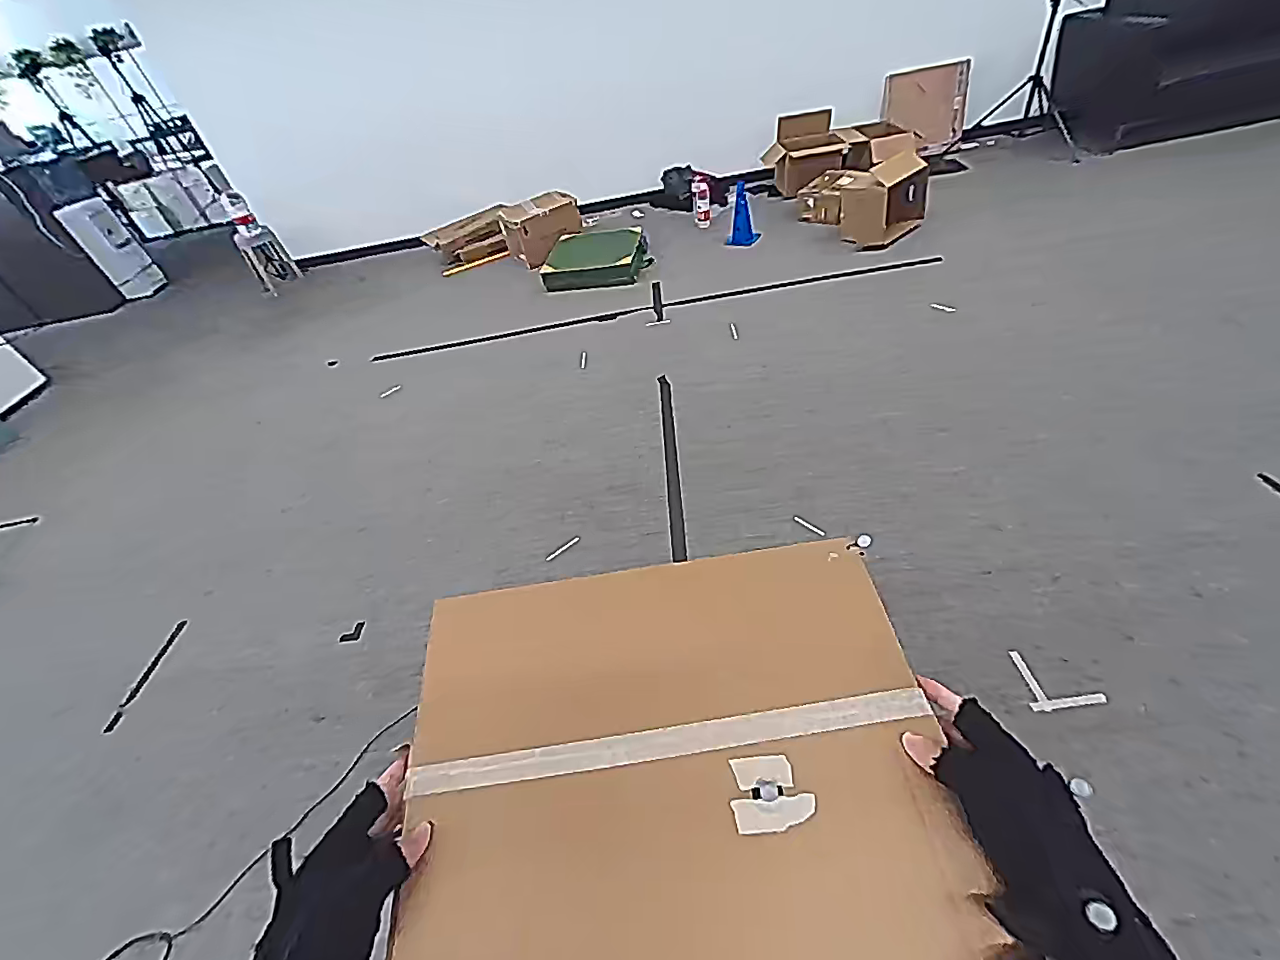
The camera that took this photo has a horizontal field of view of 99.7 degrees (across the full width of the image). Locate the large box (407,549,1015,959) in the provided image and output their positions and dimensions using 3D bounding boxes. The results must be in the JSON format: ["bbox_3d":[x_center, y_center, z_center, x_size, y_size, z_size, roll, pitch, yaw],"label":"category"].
[{"bbox_3d":[0.038,0.308,0.546,0.408,0.320,0.320,-9,50,0],"label":"large box"}]
